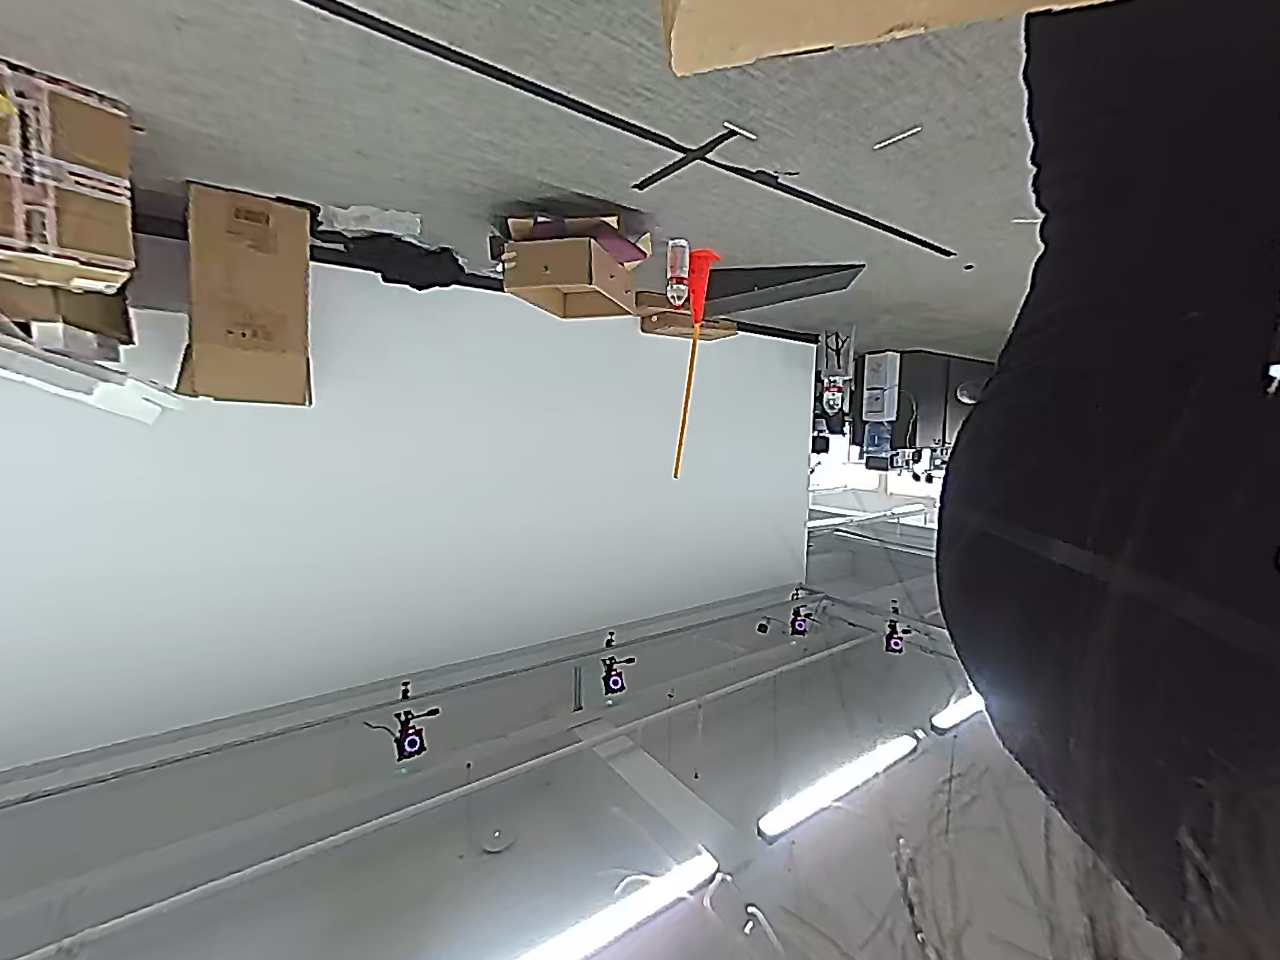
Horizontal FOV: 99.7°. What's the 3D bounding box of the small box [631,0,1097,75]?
[{"bbox_3d":[0.067,-0.224,0.094,0.168,0.176,0.179,-8,-174,4],"label":"small box"}]
